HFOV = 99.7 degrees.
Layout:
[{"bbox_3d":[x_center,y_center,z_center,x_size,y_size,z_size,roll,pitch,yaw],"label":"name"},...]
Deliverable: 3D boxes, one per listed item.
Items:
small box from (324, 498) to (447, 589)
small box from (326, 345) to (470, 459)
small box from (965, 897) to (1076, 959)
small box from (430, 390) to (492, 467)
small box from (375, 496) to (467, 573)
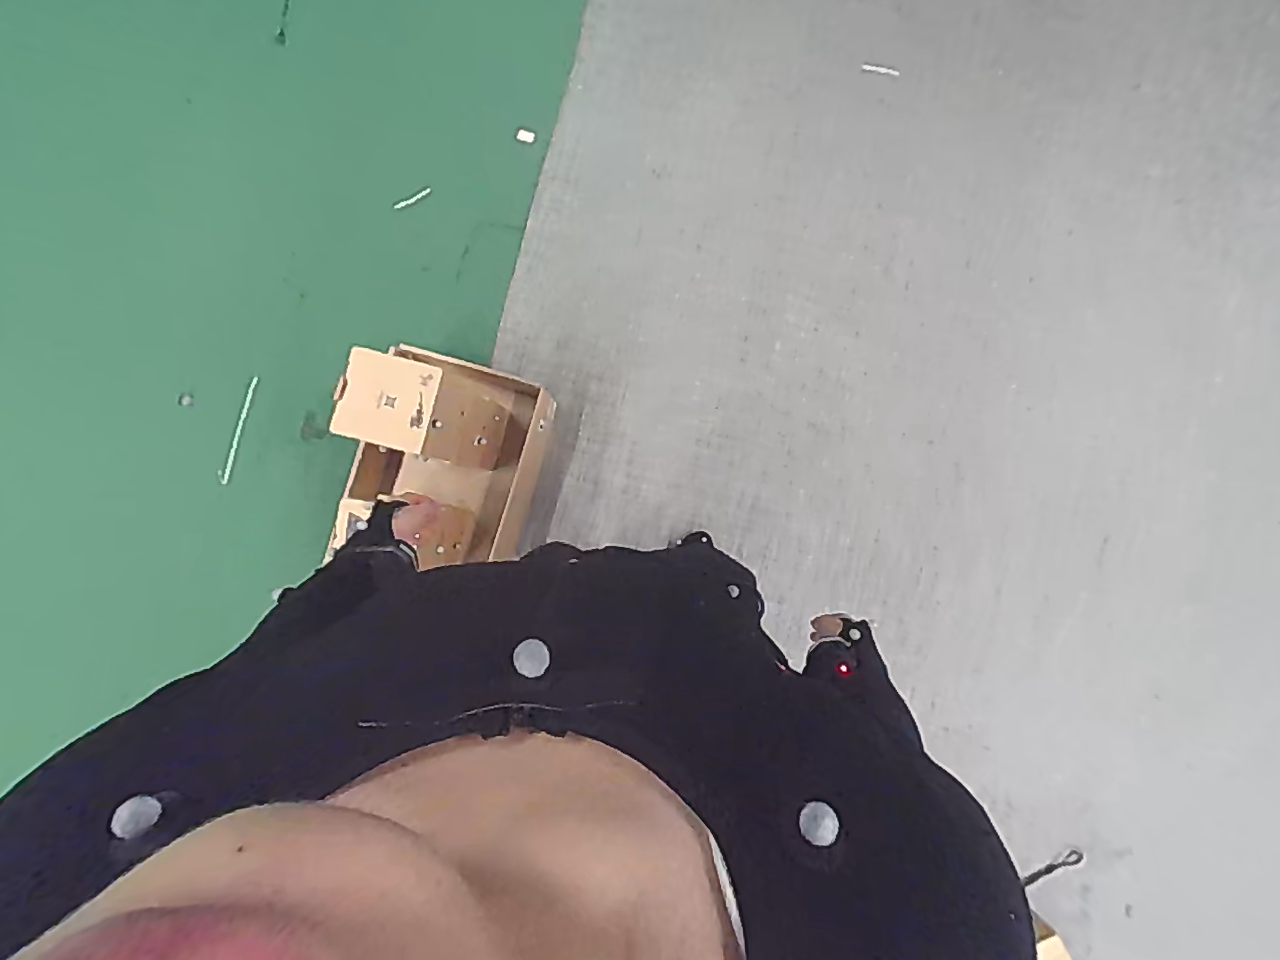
[{"bbox_3d":[-0.550,0.137,1.192,0.179,0.176,0.168,9,85,0],"label":"small box"},{"bbox_3d":[-0.457,-0.141,1.046,0.179,0.176,0.168,14,88,2],"label":"small box"},{"bbox_3d":[0.933,1.159,1.306,0.168,0.176,0.179,-25,86,0],"label":"small box"},{"bbox_3d":[-0.457,-0.132,1.210,0.179,0.176,0.168,17,88,0],"label":"small box"},{"bbox_3d":[-0.560,0.140,1.356,0.179,0.176,0.168,11,85,1],"label":"small box"}]
